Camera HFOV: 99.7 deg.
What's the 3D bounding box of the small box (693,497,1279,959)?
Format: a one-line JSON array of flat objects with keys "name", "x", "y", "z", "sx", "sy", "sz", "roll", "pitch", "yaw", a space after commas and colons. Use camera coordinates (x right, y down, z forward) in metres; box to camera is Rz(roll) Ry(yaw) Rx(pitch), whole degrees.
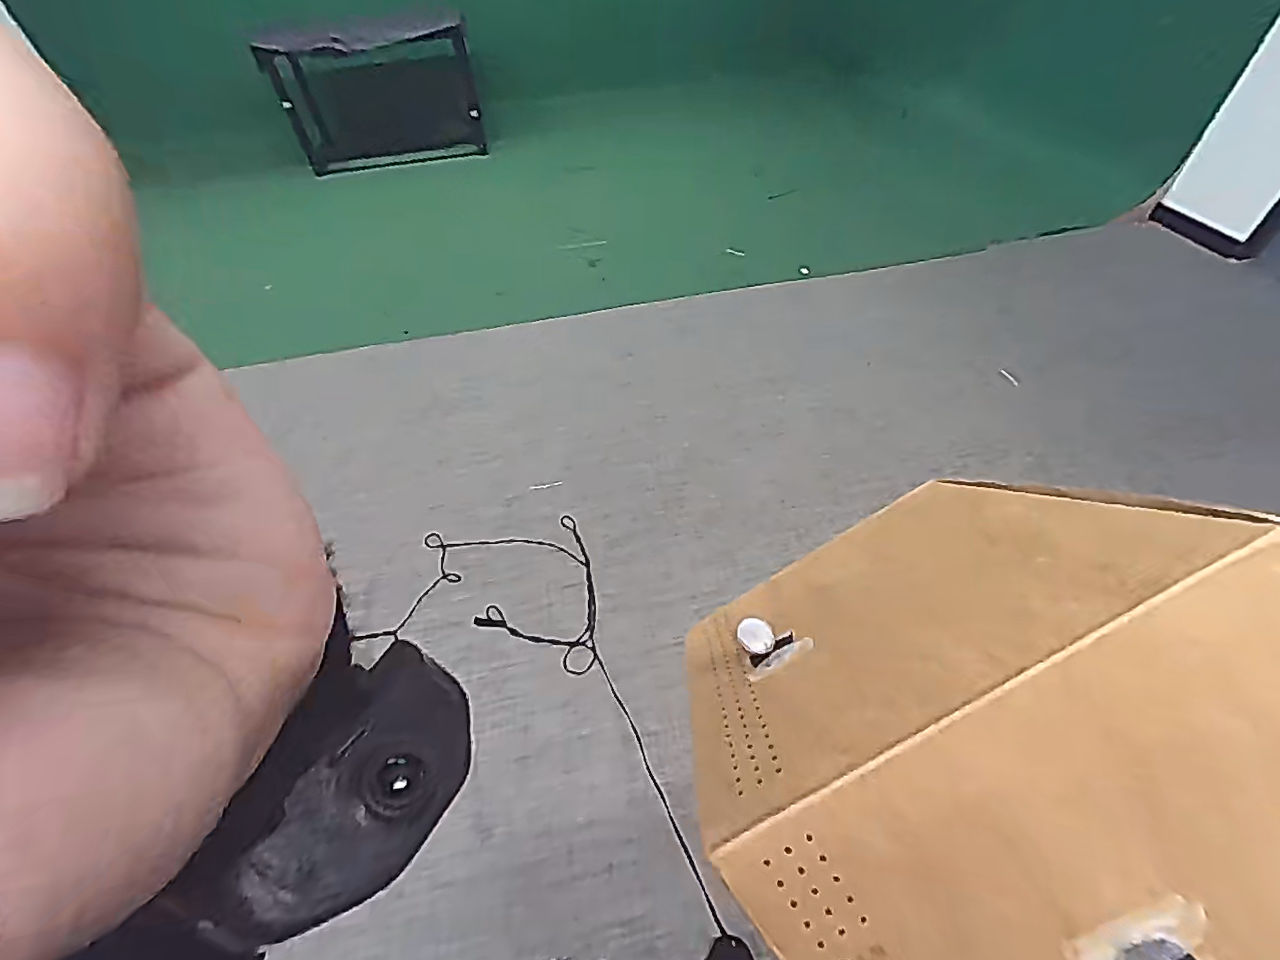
[{"name": "small box", "x": 0.136, "y": 0.126, "z": 0.231, "sx": 0.176, "sy": 0.179, "sz": 0.168, "roll": -33, "pitch": 91, "yaw": 4}]
